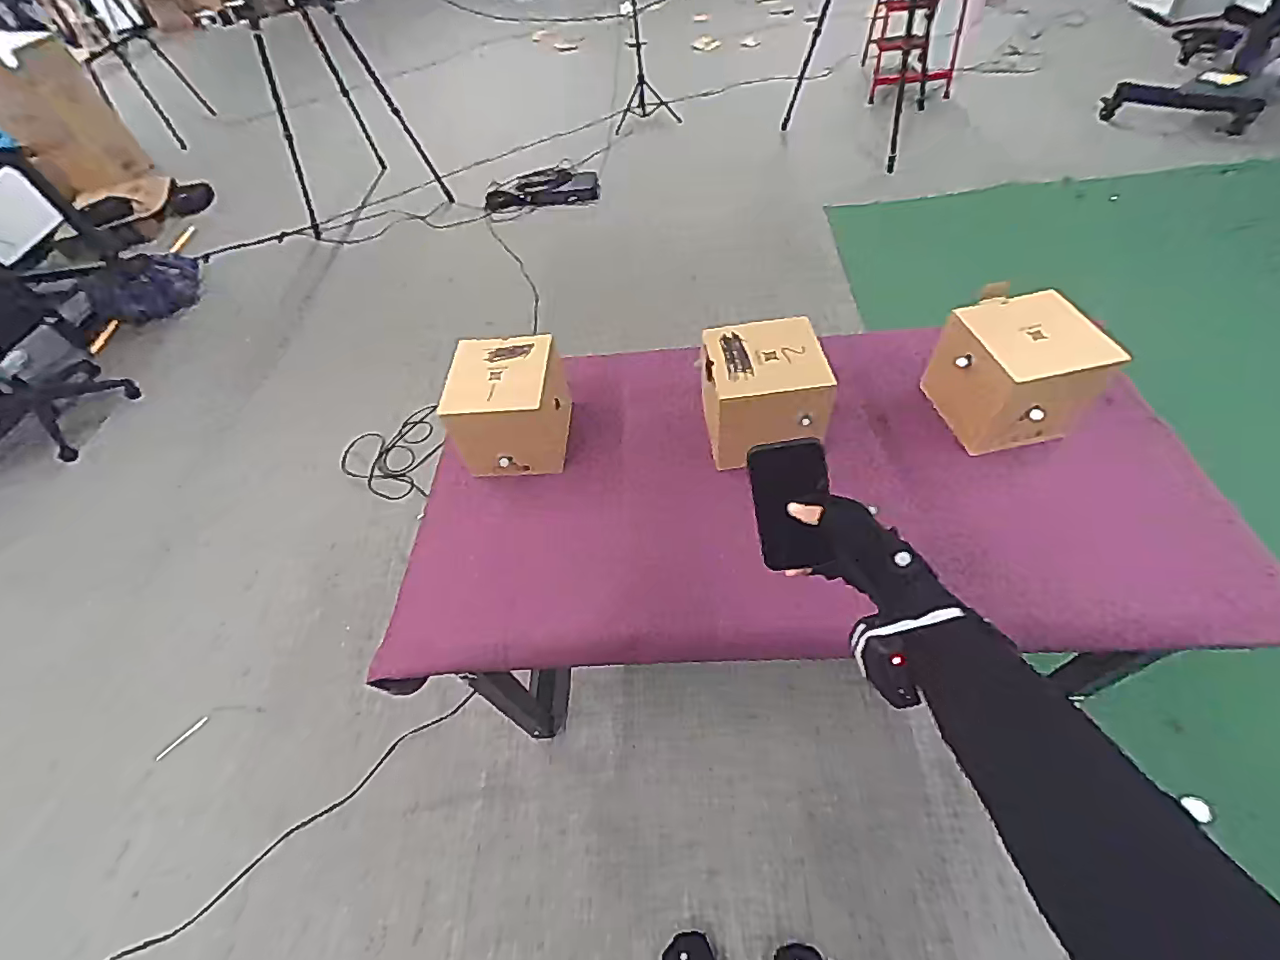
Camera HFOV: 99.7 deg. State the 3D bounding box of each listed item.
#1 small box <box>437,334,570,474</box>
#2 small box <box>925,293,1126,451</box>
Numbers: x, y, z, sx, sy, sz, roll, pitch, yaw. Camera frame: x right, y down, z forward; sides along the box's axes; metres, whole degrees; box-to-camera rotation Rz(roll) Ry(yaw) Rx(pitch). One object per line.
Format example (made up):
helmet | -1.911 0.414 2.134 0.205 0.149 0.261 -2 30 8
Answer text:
small box | -0.221 -0.128 0.934 0.168 0.176 0.179 -2 55 6
small box | 0.589 -0.162 0.857 0.168 0.176 0.179 -12 52 -1
